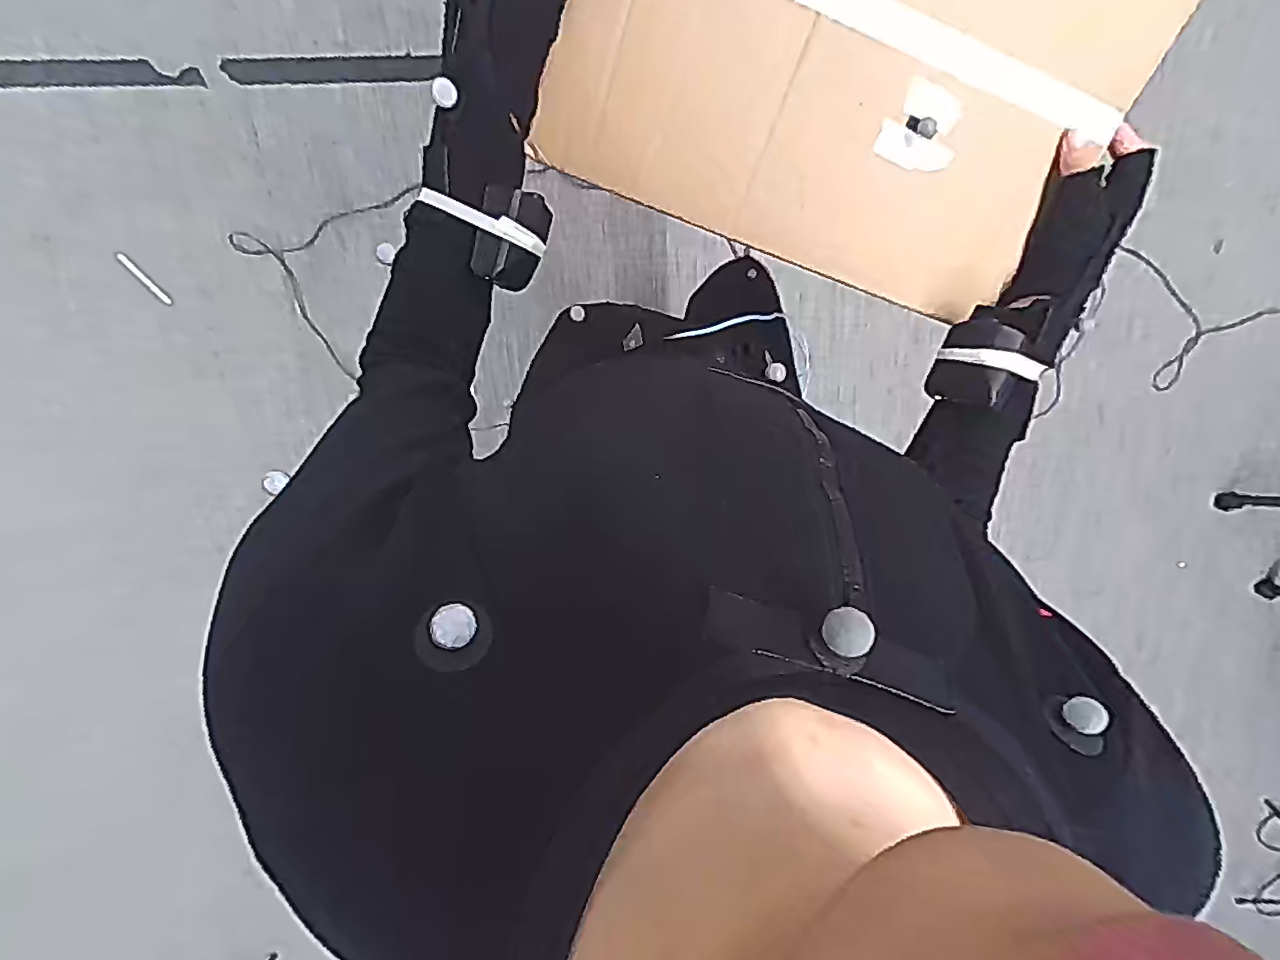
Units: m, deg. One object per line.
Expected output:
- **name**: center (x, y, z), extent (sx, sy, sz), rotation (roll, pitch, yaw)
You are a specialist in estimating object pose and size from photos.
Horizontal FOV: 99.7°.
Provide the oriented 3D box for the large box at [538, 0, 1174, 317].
- **large box**: center (0.150, -0.396, 0.504), extent (0.408, 0.320, 0.320), rotation (16, 120, -11)
